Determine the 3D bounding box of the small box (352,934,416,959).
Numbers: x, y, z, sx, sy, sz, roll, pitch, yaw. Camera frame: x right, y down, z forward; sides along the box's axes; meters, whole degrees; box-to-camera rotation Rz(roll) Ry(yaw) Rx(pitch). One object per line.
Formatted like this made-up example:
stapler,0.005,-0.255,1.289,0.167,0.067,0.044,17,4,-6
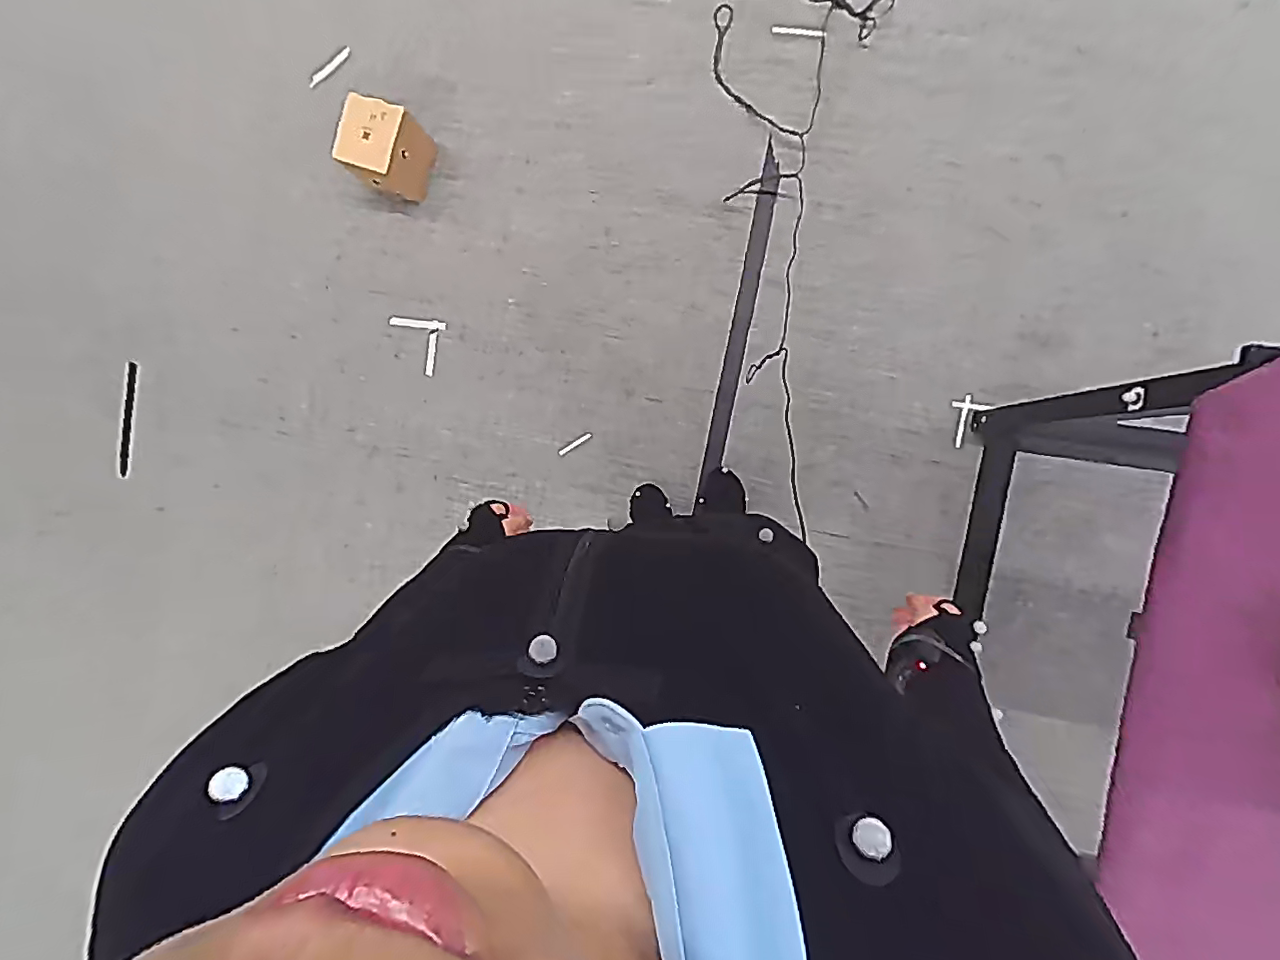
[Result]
small box,-0.778,1.497,1.591,0.168,0.176,0.179,4,93,7

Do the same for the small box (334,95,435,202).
small box,-0.689,-0.895,1.477,0.168,0.176,0.179,20,95,6
